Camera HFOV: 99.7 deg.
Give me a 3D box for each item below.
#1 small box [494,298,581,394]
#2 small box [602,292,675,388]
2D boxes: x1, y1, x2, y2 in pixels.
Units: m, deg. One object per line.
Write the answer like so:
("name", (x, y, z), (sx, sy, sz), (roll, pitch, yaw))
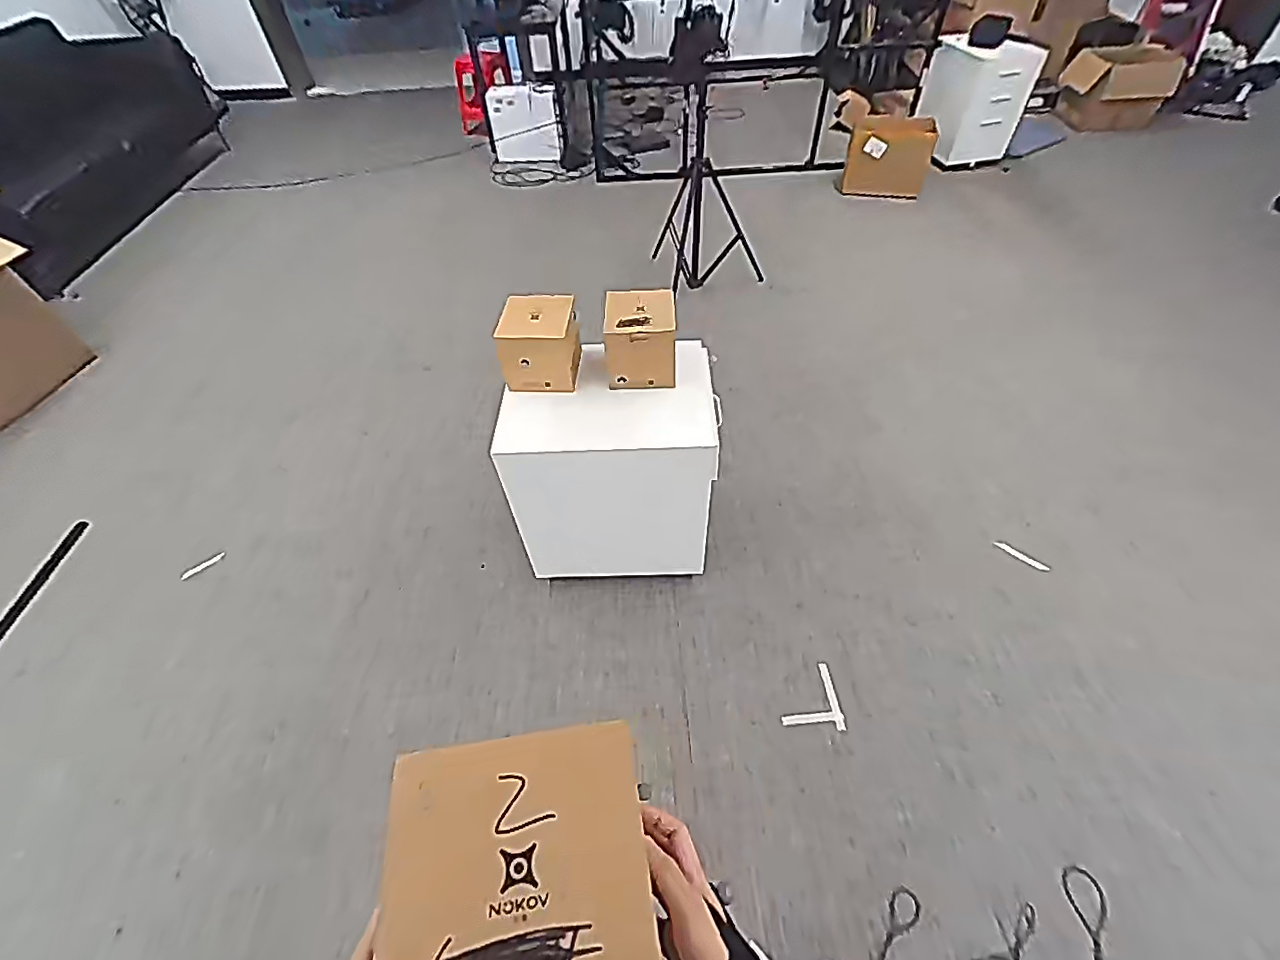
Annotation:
("small box", (-0.244, -0.329, 1.336), (0.168, 0.176, 0.179), (1, 50, 3))
("small box", (0.002, -0.340, 1.331), (0.168, 0.176, 0.179), (-1, 50, 2))
